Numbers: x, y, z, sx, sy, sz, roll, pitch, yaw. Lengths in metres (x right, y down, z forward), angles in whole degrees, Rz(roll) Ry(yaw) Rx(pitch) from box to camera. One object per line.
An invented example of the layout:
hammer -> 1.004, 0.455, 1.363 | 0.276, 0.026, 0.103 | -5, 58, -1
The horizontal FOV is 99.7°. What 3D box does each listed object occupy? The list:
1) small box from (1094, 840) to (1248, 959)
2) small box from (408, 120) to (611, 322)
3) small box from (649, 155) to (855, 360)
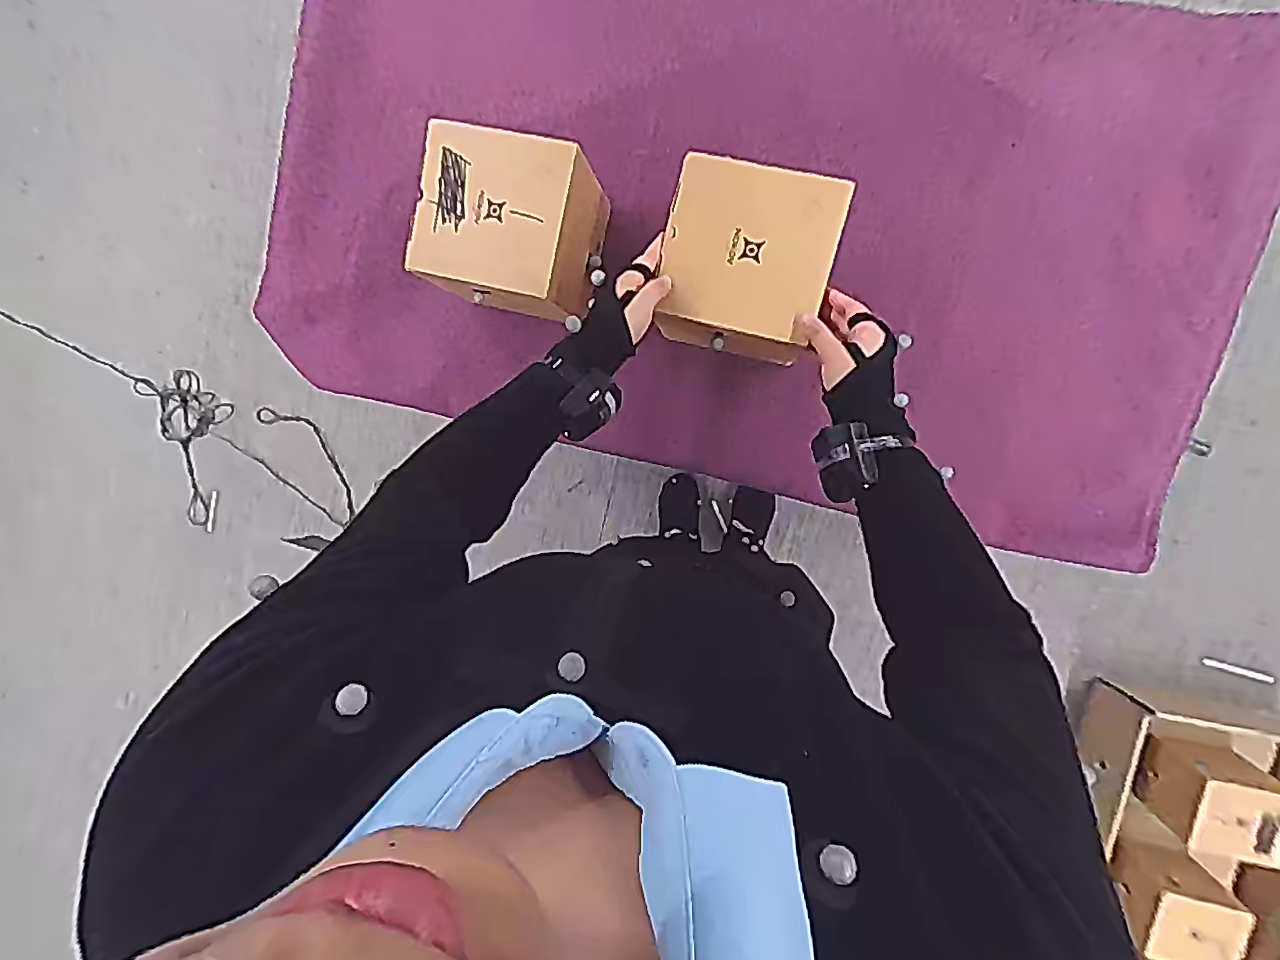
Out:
small box -> 1.214, 0.981, 1.254 | 0.179, 0.176, 0.168 | 11, 97, 7
small box -> -0.151, -0.306, 0.673 | 0.179, 0.176, 0.168 | 14, 98, 7
small box -> 0.125, -0.243, 0.635 | 0.179, 0.176, 0.168 | 15, 98, 8
